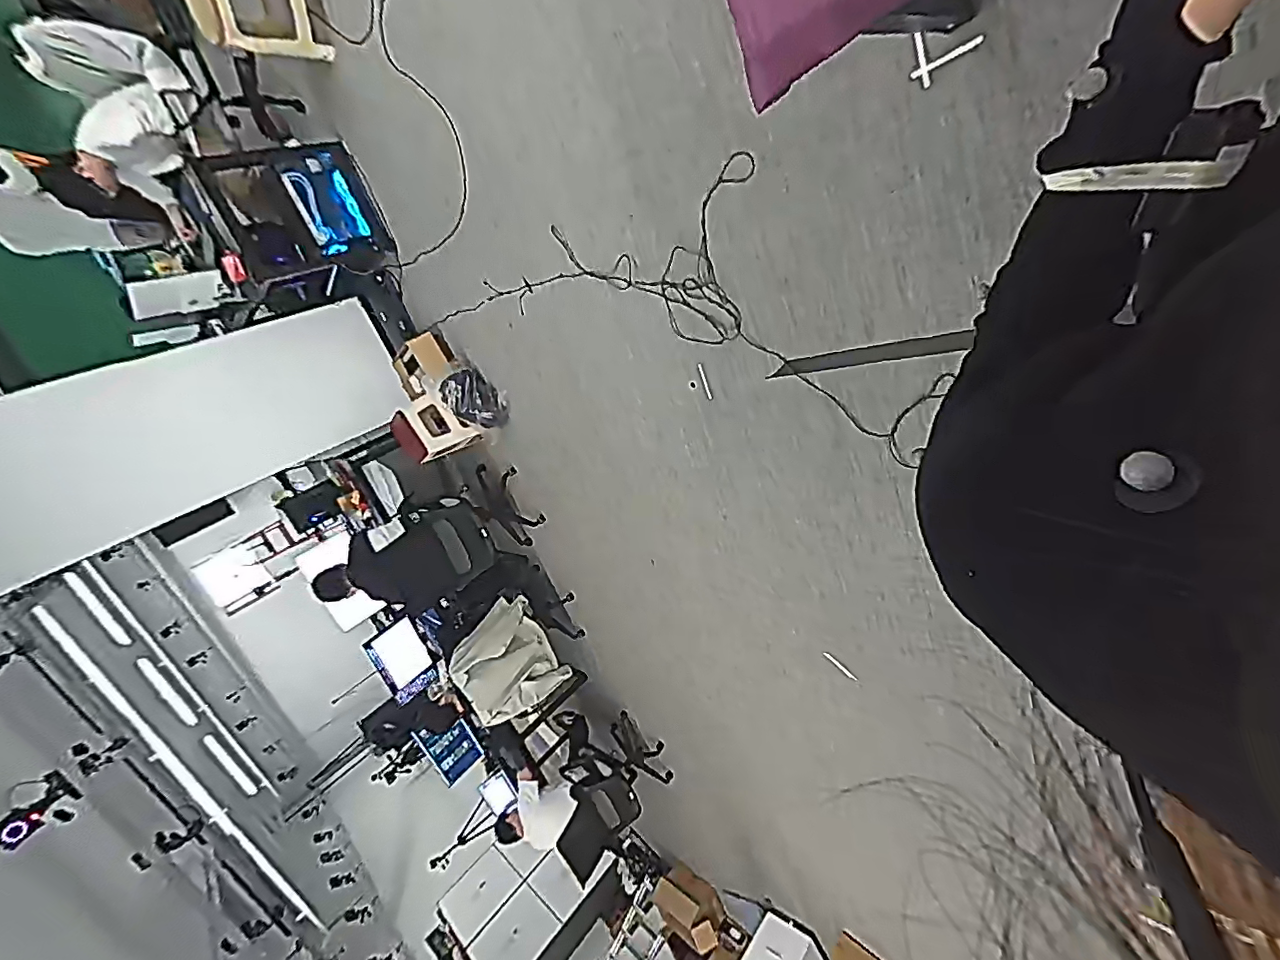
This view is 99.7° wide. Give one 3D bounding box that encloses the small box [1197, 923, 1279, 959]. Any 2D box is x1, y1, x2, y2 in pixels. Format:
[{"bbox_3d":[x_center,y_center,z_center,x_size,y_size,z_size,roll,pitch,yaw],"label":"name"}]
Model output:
[{"bbox_3d":[1.443,1.215,1.275,0.179,0.176,0.168,0,117,50],"label":"small box"}]
